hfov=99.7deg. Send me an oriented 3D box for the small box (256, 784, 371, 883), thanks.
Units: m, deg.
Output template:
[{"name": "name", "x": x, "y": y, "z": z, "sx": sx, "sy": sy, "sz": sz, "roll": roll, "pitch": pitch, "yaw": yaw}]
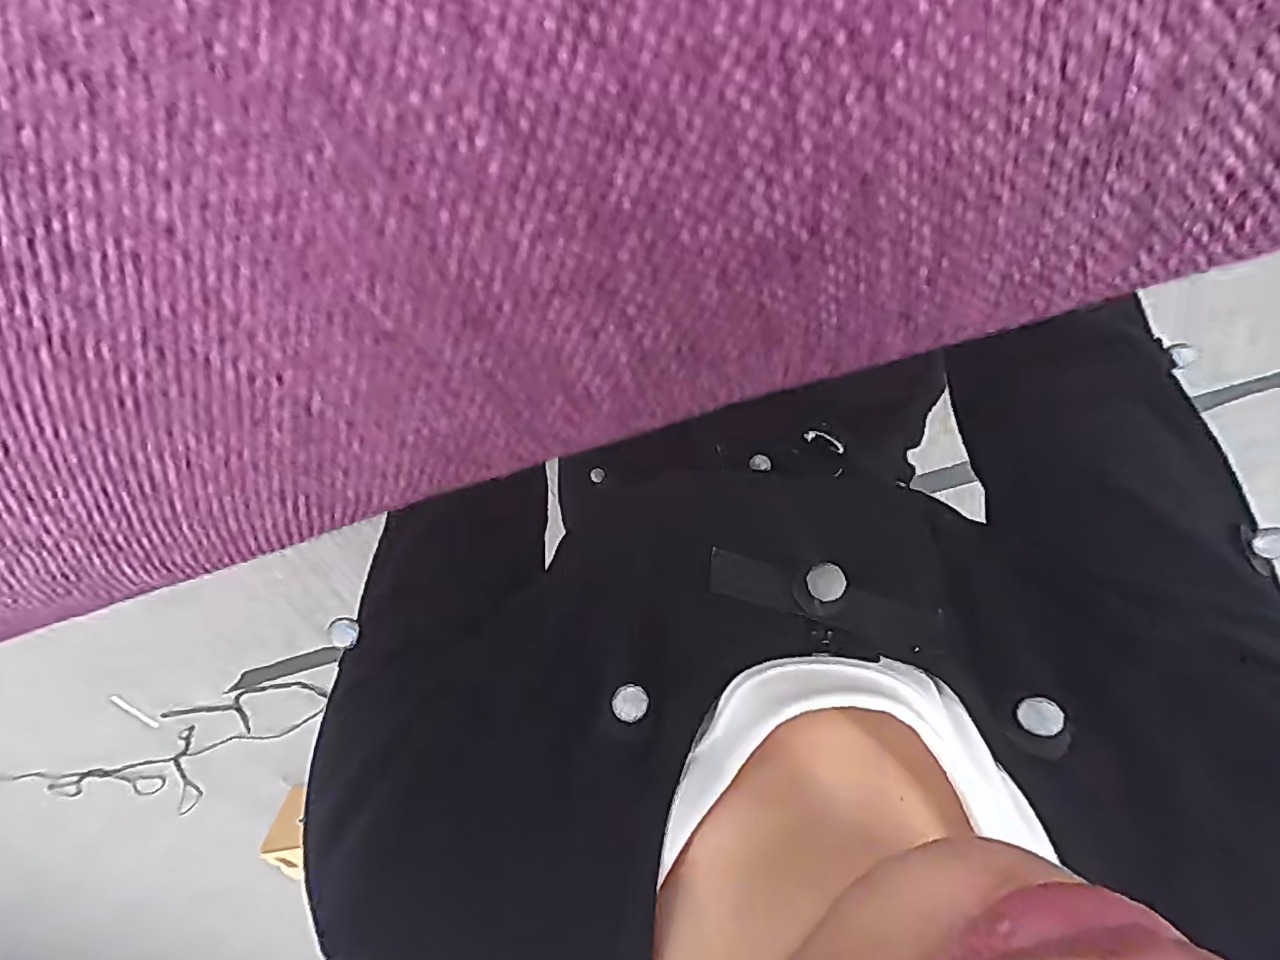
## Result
[{"name": "small box", "x": -0.878, "y": 0.961, "z": 1.474, "sx": 0.179, "sy": 0.176, "sz": 0.168, "roll": -13, "pitch": 124, "yaw": 7}]
